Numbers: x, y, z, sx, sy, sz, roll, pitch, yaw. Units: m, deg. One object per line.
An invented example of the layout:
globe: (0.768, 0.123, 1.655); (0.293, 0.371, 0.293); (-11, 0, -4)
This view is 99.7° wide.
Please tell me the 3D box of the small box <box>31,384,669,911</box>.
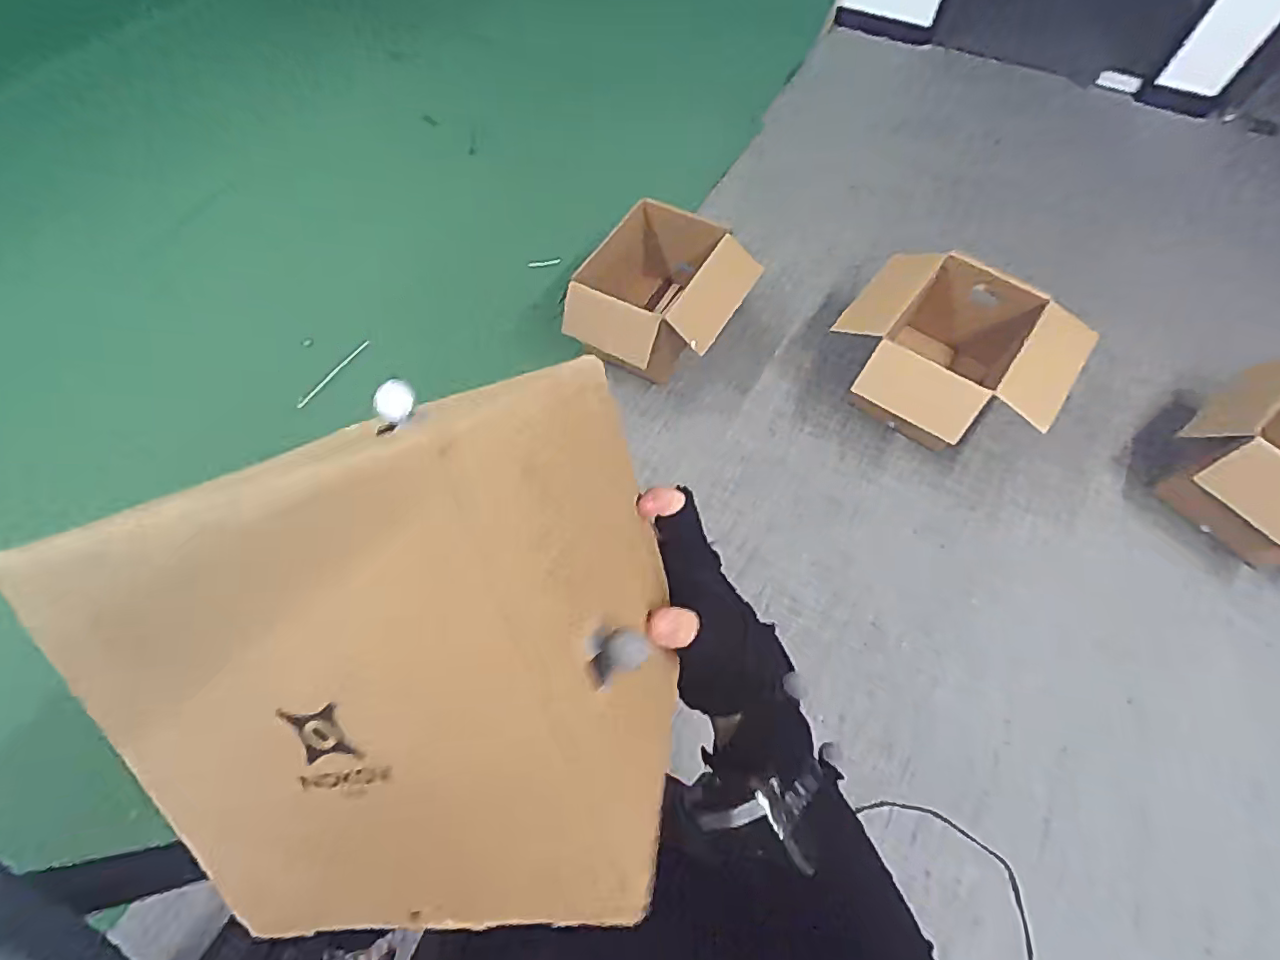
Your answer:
small box: (-0.093, 0.061, 0.261); (0.168, 0.179, 0.176); (-13, 19, 16)
